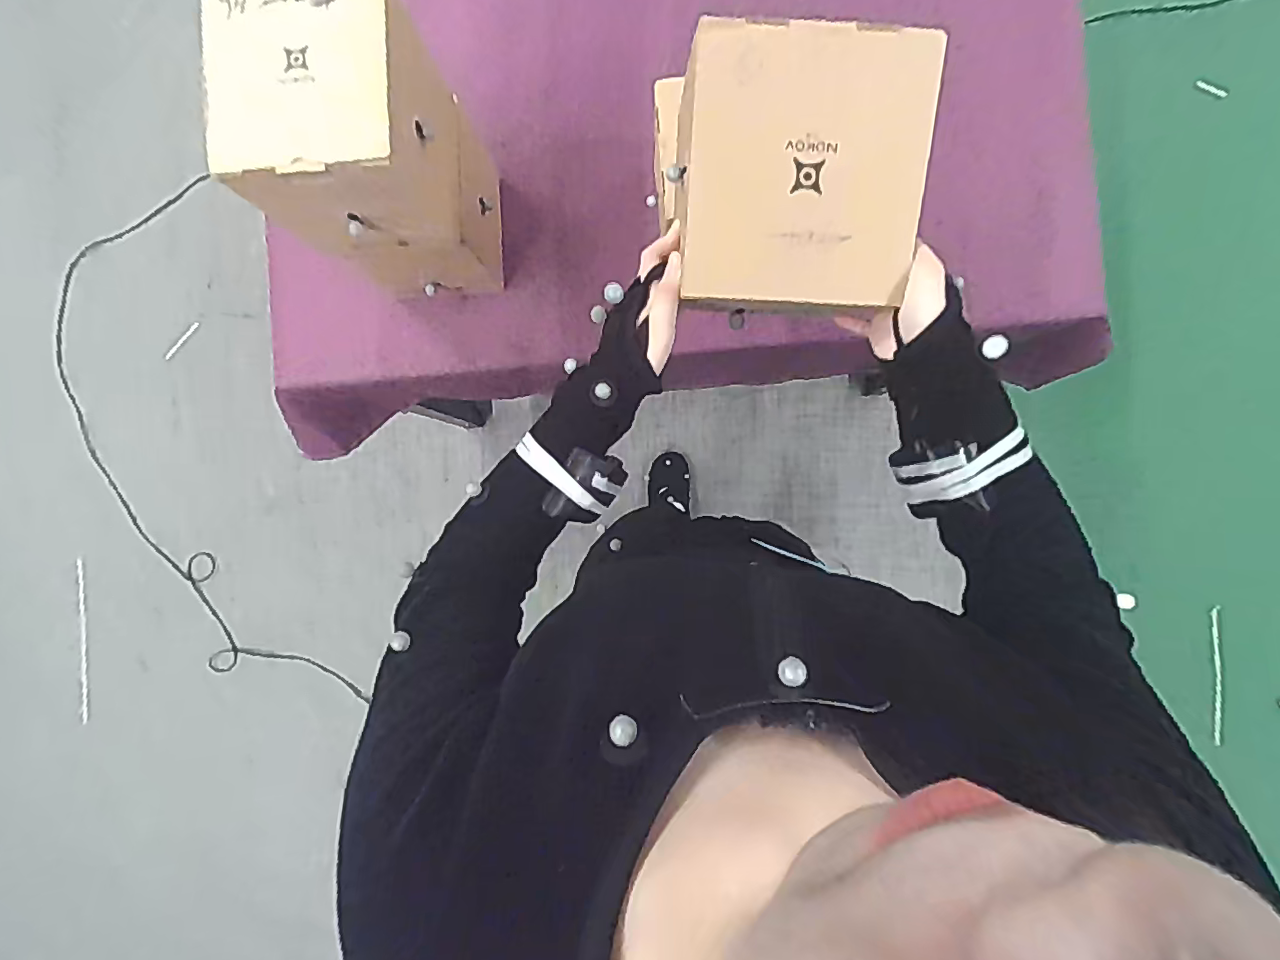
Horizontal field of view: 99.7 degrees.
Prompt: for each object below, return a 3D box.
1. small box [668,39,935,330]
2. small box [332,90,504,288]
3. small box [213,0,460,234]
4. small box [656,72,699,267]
[{"bbox_3d":[0.114,-0.227,0.463,0.168,0.176,0.179,4,104,-1],"label":"small box"},{"bbox_3d":[-0.286,-0.376,0.725,0.168,0.176,0.179,-2,89,2],"label":"small box"},{"bbox_3d":[-0.296,-0.372,0.560,0.168,0.176,0.179,-1,89,1],"label":"small box"},{"bbox_3d":[0.113,-0.395,0.709,0.179,0.176,0.168,-4,88,2],"label":"small box"}]
